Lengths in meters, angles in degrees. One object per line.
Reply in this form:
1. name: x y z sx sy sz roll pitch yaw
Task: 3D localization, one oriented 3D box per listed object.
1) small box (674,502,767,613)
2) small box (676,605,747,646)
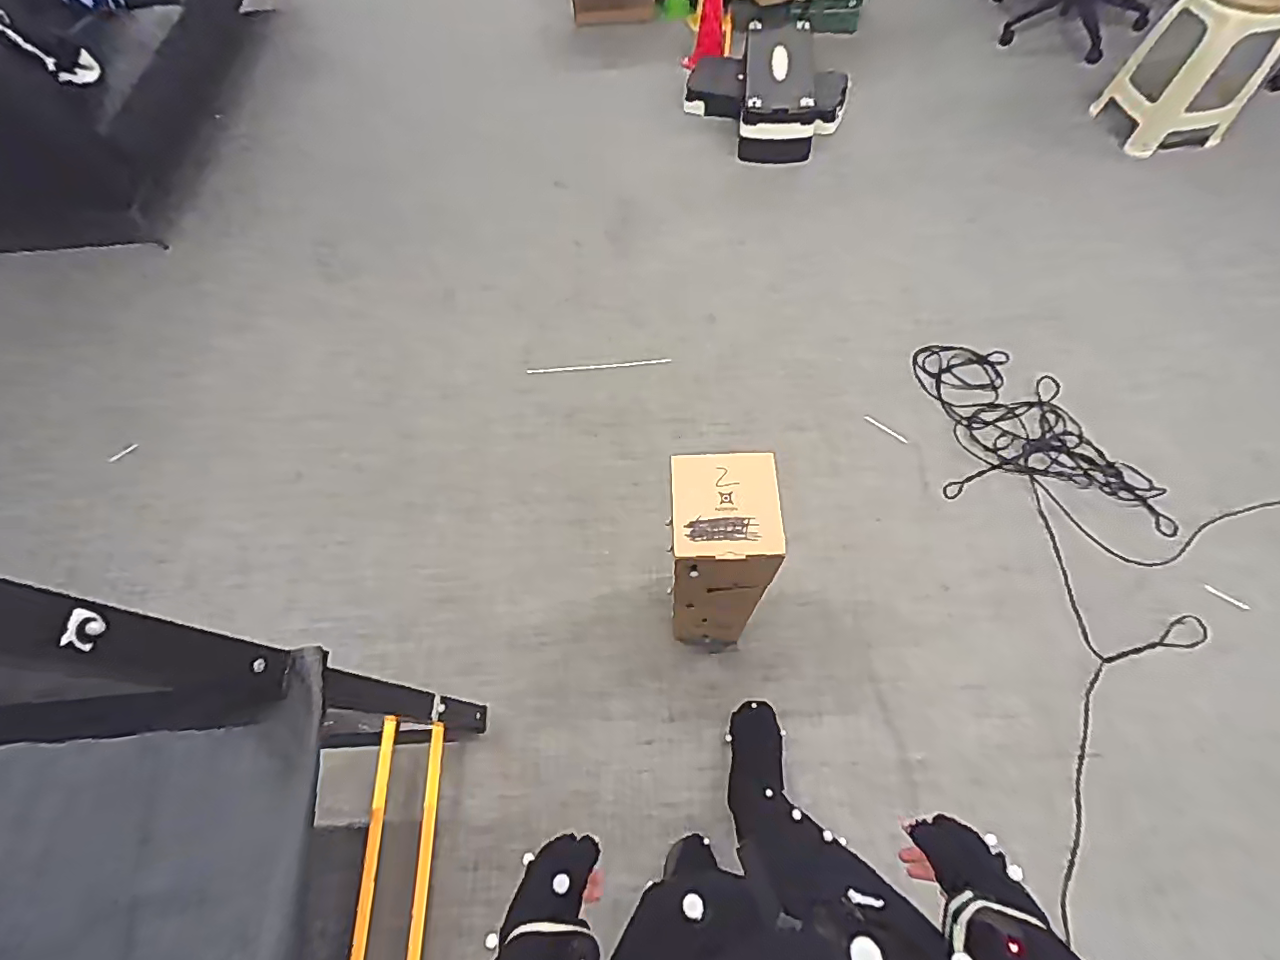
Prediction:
1. small box: 0.150 0.156 1.052 0.168 0.176 0.179 -1 62 4
2. small box: 0.174 0.304 1.343 0.168 0.176 0.179 2 65 5
